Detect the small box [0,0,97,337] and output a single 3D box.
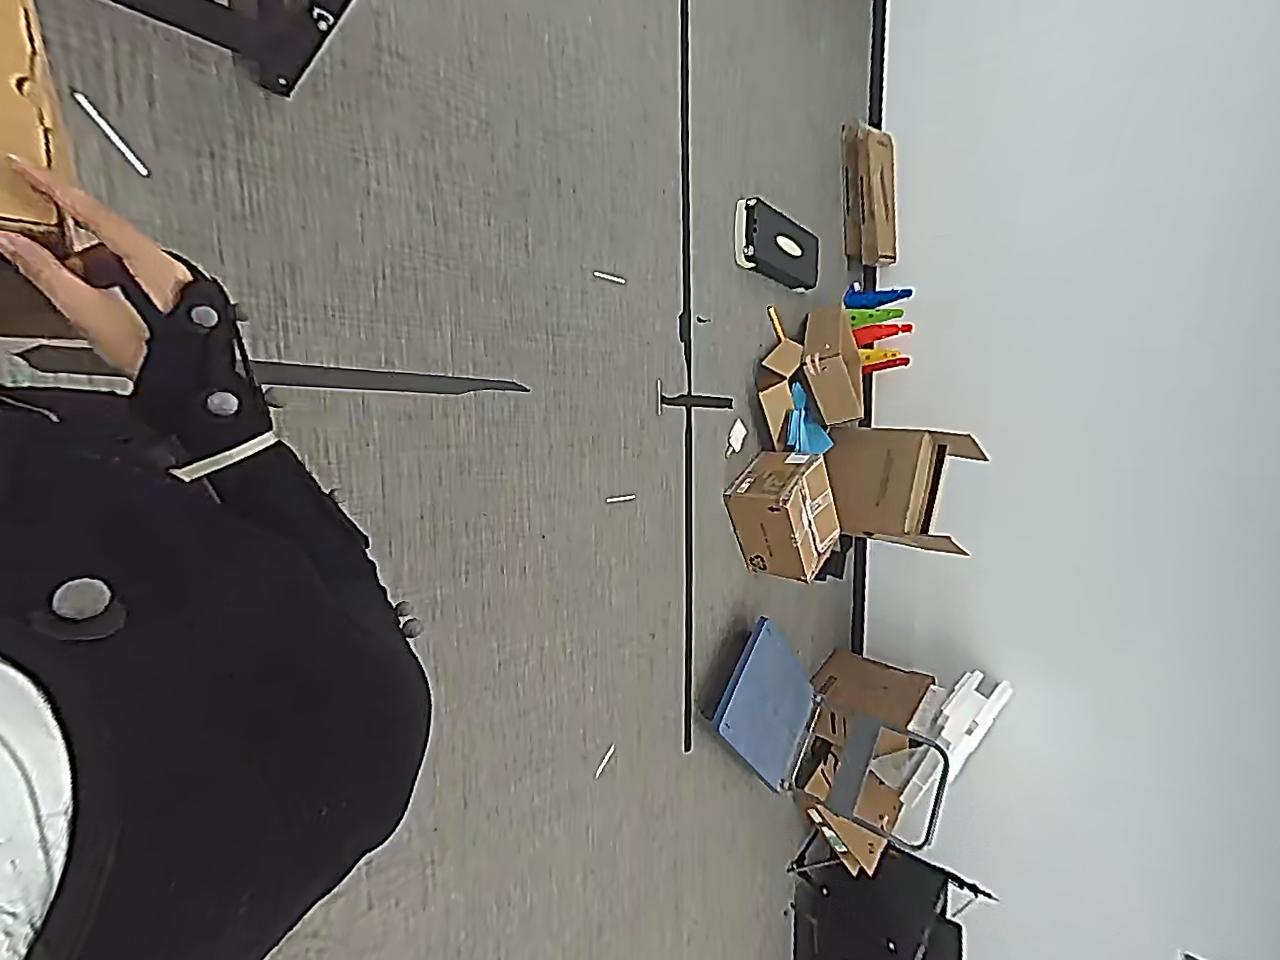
[{"bbox_3d":[-0.453,-0.194,0.312,0.179,0.176,0.168,-9,85,-42],"label":"small box"}]
